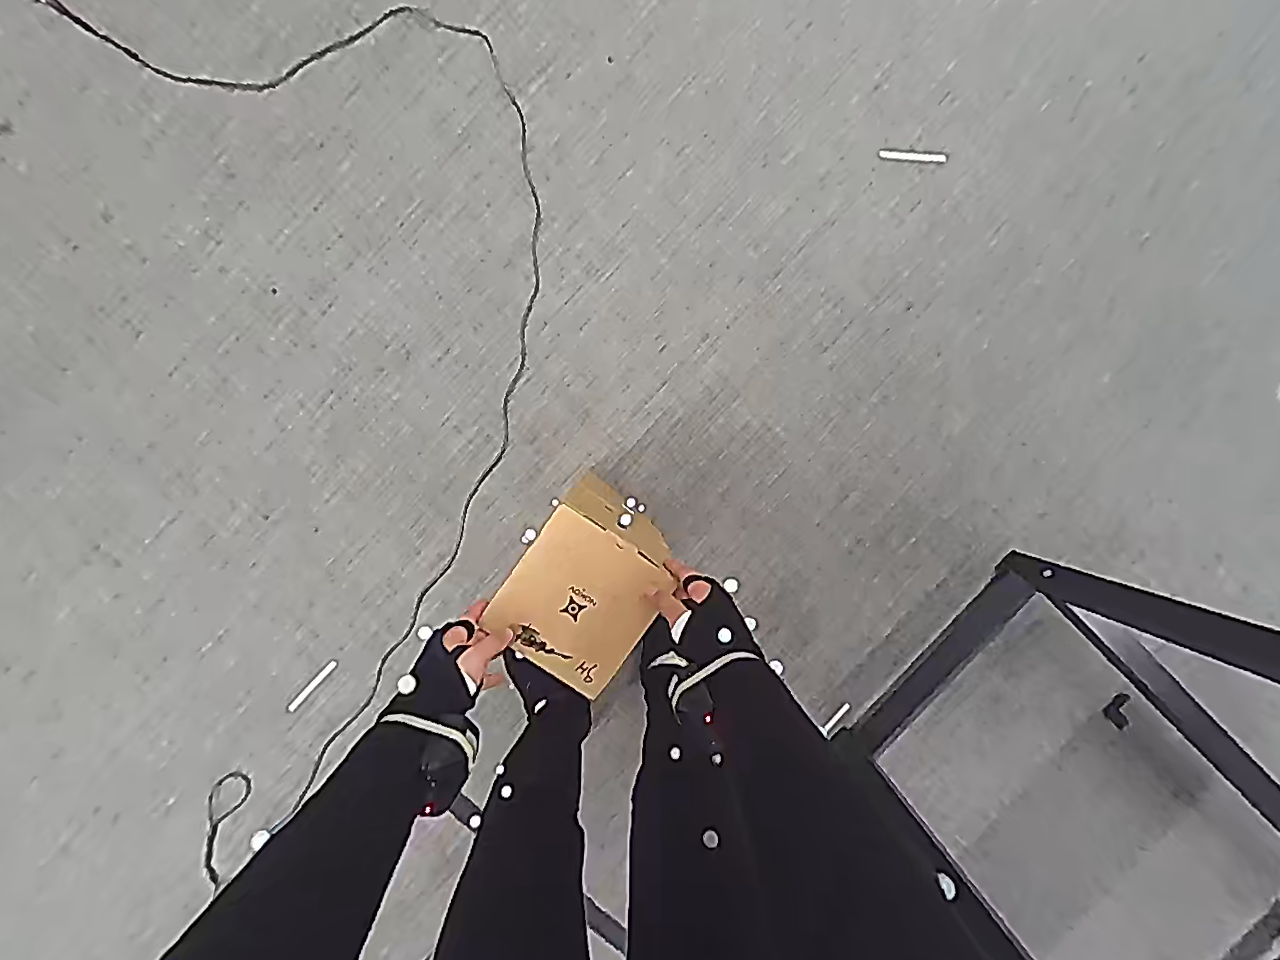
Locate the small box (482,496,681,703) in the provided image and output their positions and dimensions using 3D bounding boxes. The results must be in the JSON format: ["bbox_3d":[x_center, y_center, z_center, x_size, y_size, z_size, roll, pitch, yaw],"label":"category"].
[{"bbox_3d":[-0.071,0.137,0.694,0.168,0.176,0.179,35,92,-4],"label":"small box"}]

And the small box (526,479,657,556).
[{"bbox_3d":[-0.091,0.114,1.029,0.168,0.176,0.179,39,92,-5],"label":"small box"}]
